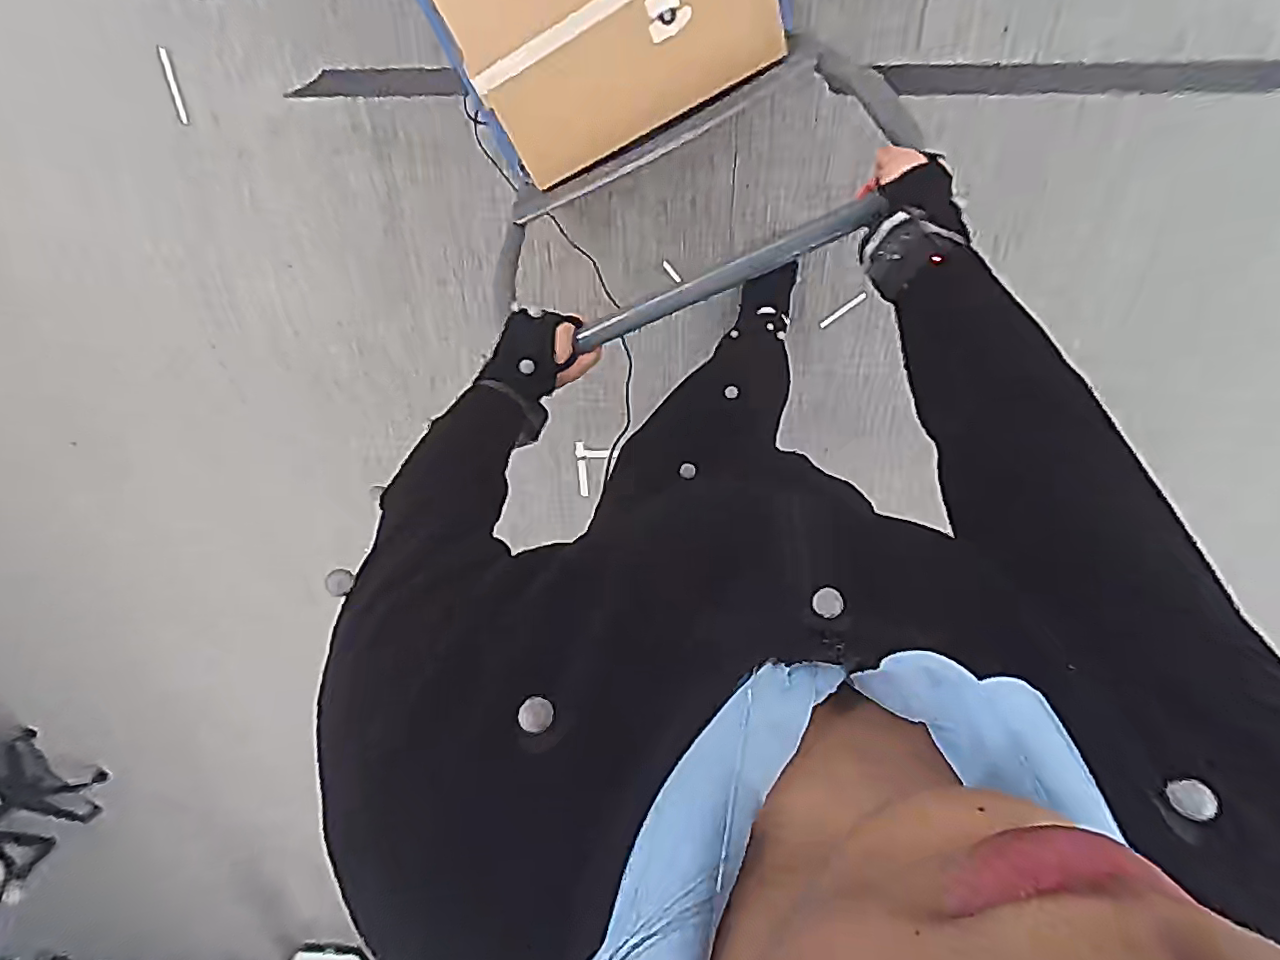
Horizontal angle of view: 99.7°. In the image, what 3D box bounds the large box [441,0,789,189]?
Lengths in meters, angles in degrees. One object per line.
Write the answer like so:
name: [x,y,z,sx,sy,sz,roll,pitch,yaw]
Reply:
large box: [-0.043,-0.727,0.821,0.408,0.320,0.320,-22,131,16]
